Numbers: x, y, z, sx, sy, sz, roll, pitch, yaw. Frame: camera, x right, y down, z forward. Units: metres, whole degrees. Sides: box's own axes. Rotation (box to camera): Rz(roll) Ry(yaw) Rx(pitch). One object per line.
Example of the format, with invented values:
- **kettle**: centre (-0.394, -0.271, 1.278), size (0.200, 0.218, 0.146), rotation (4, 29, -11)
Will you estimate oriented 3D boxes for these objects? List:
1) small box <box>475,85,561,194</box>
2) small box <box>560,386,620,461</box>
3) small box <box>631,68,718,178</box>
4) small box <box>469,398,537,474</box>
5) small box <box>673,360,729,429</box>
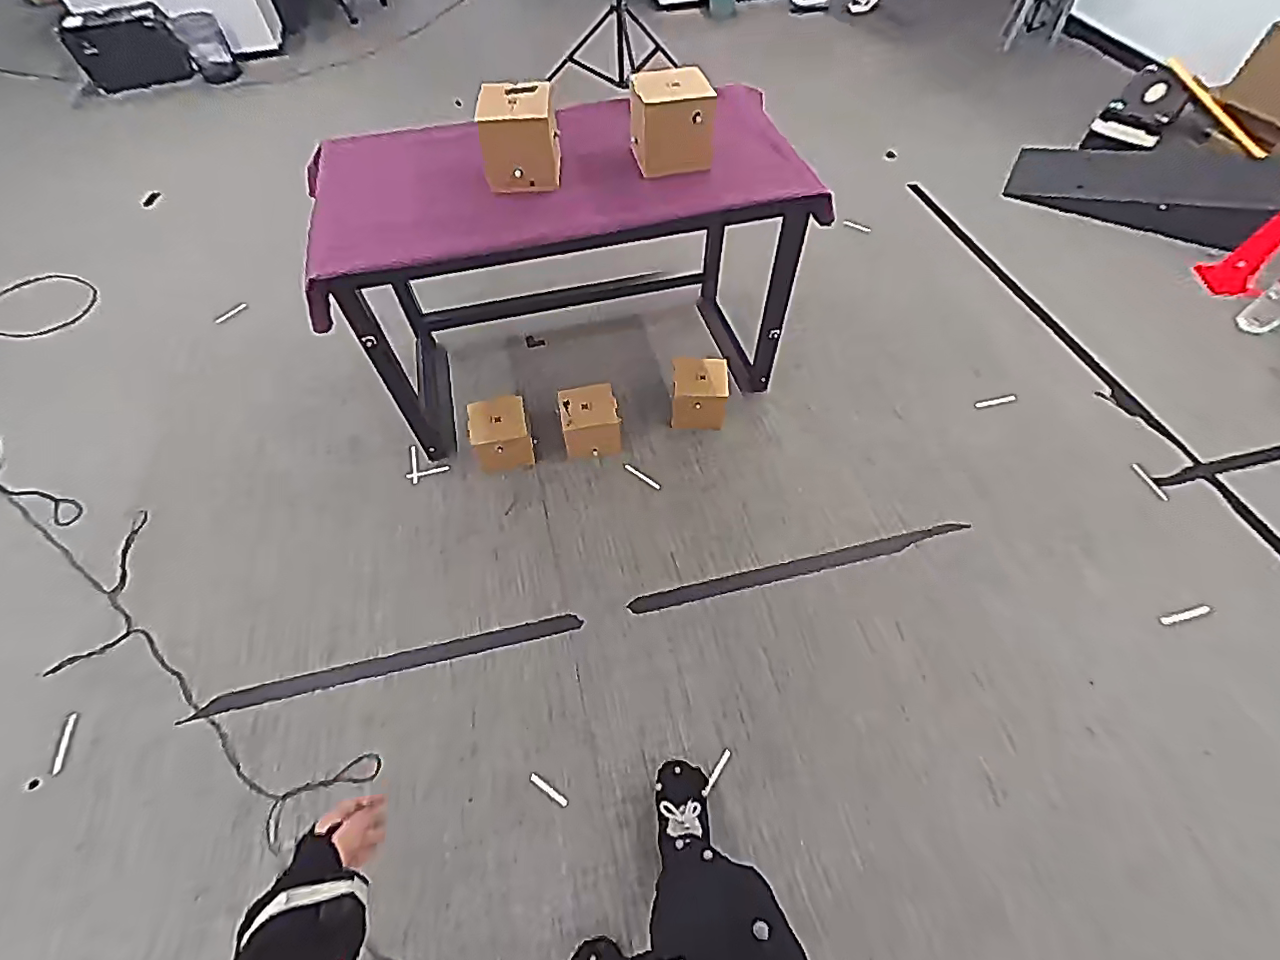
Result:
- **small box**: centre (-0.286, -0.817, 1.303), size (0.168, 0.176, 0.179), rotation (-3, 58, 0)
- **small box**: centre (-0.159, -0.181, 1.758), size (0.179, 0.176, 0.168), rotation (-9, 58, -5)
- **small box**: centre (0.079, -0.874, 1.330), size (0.179, 0.176, 0.168), rotation (-12, 57, -5)
- **small box**: centre (-0.438, -0.137, 1.738), size (0.179, 0.176, 0.168), rotation (-11, 58, -6)
- **small box**: centre (0.202, -0.285, 1.817), size (0.179, 0.176, 0.168), rotation (1, 58, 3)
